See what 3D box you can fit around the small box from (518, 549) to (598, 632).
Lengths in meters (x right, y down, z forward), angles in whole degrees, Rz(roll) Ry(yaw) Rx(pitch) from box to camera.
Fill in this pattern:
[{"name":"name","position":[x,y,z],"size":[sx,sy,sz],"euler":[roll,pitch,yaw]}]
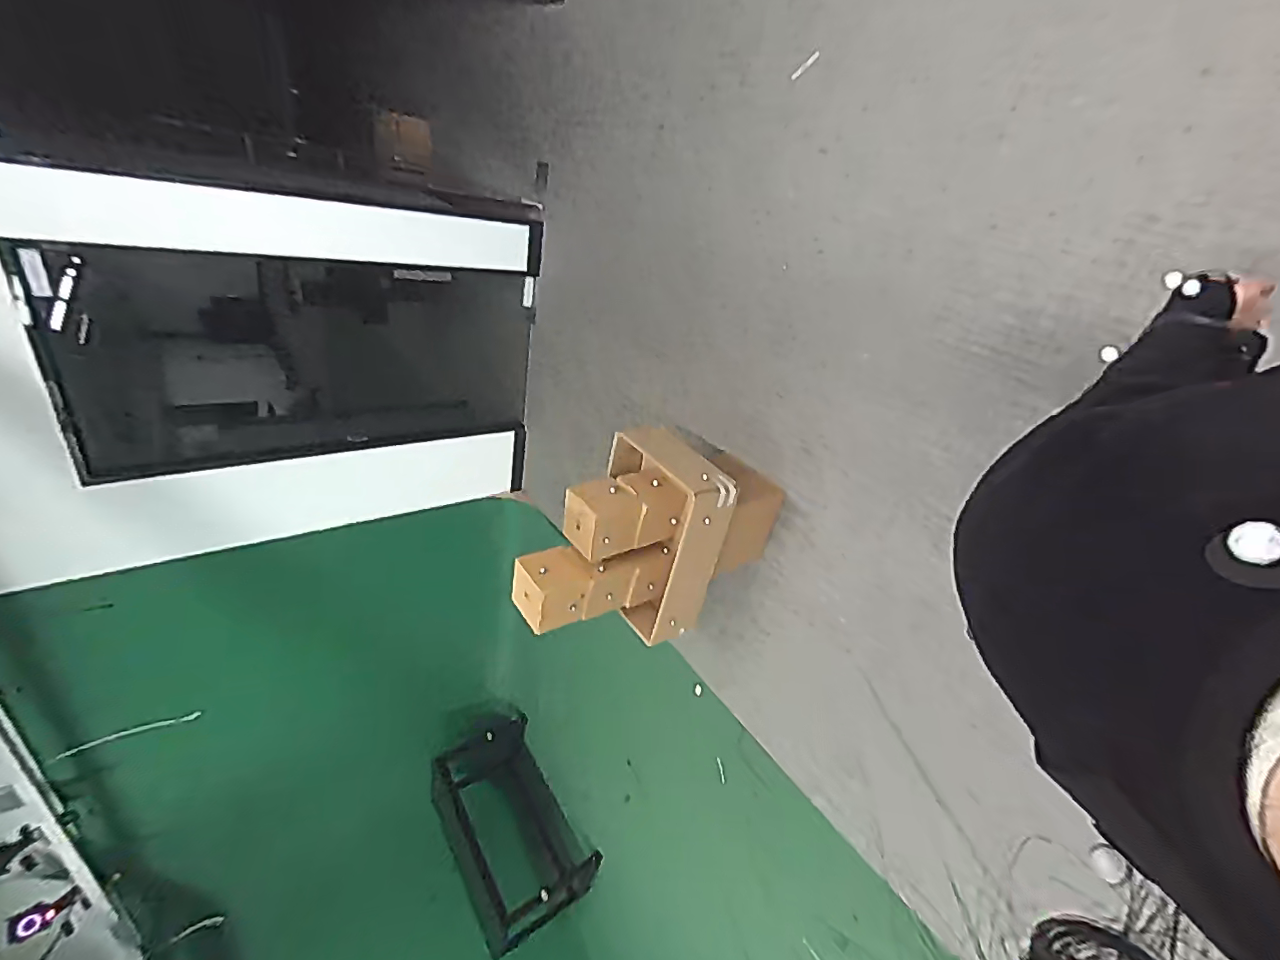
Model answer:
[{"name":"small box","position":[-0.254,0.330,1.658],"size":[0.179,0.176,0.168],"euler":[40,128,41]}]
